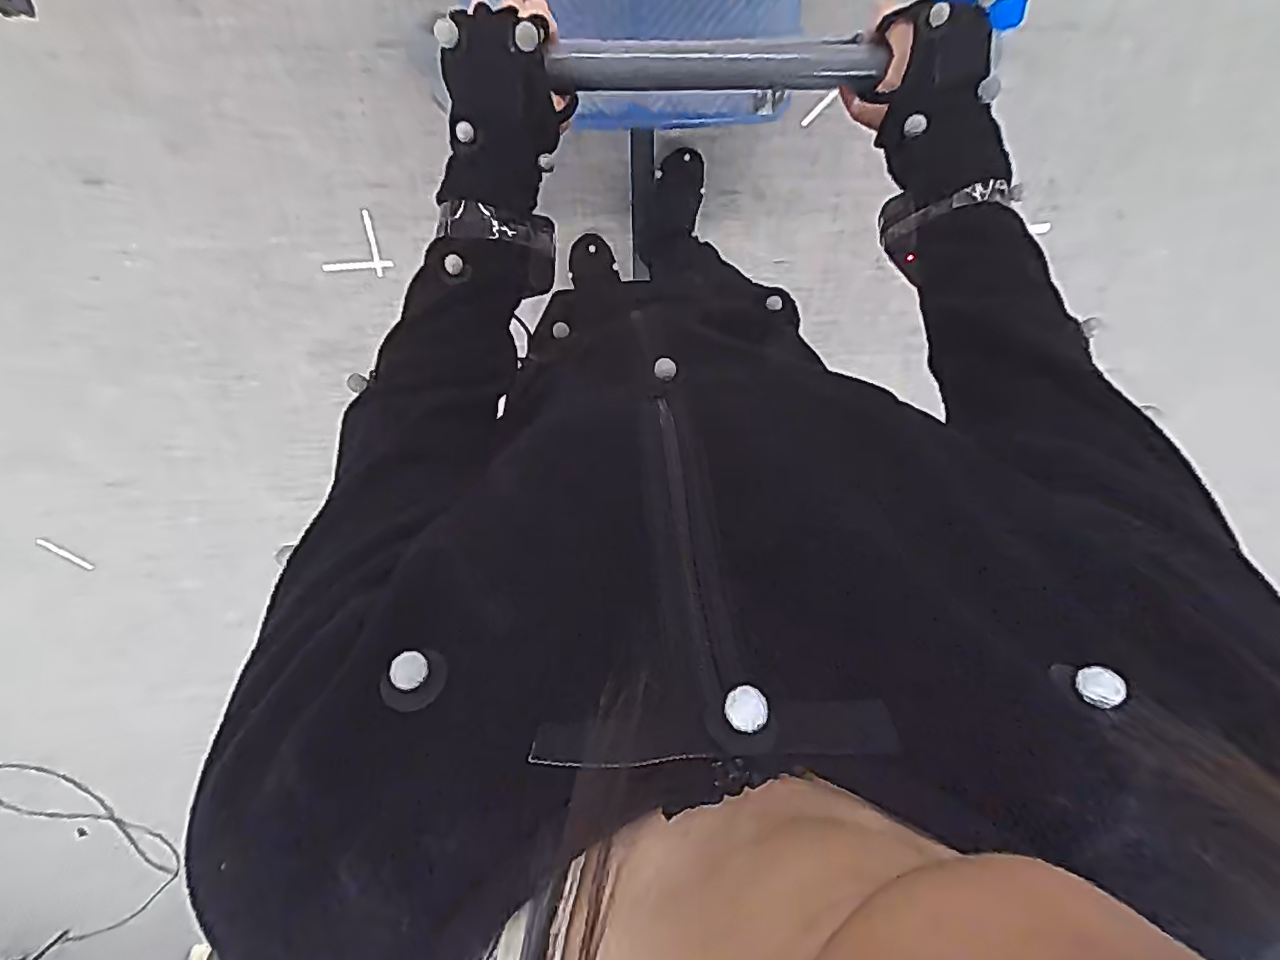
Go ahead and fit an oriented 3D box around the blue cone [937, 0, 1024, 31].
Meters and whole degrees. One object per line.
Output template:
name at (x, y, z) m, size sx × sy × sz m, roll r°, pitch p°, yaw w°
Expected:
blue cone at (0.700, -0.936, 0.922) m, size 0.193 × 0.380 × 0.192 m, roll -8°, pitch 118°, yaw -3°
